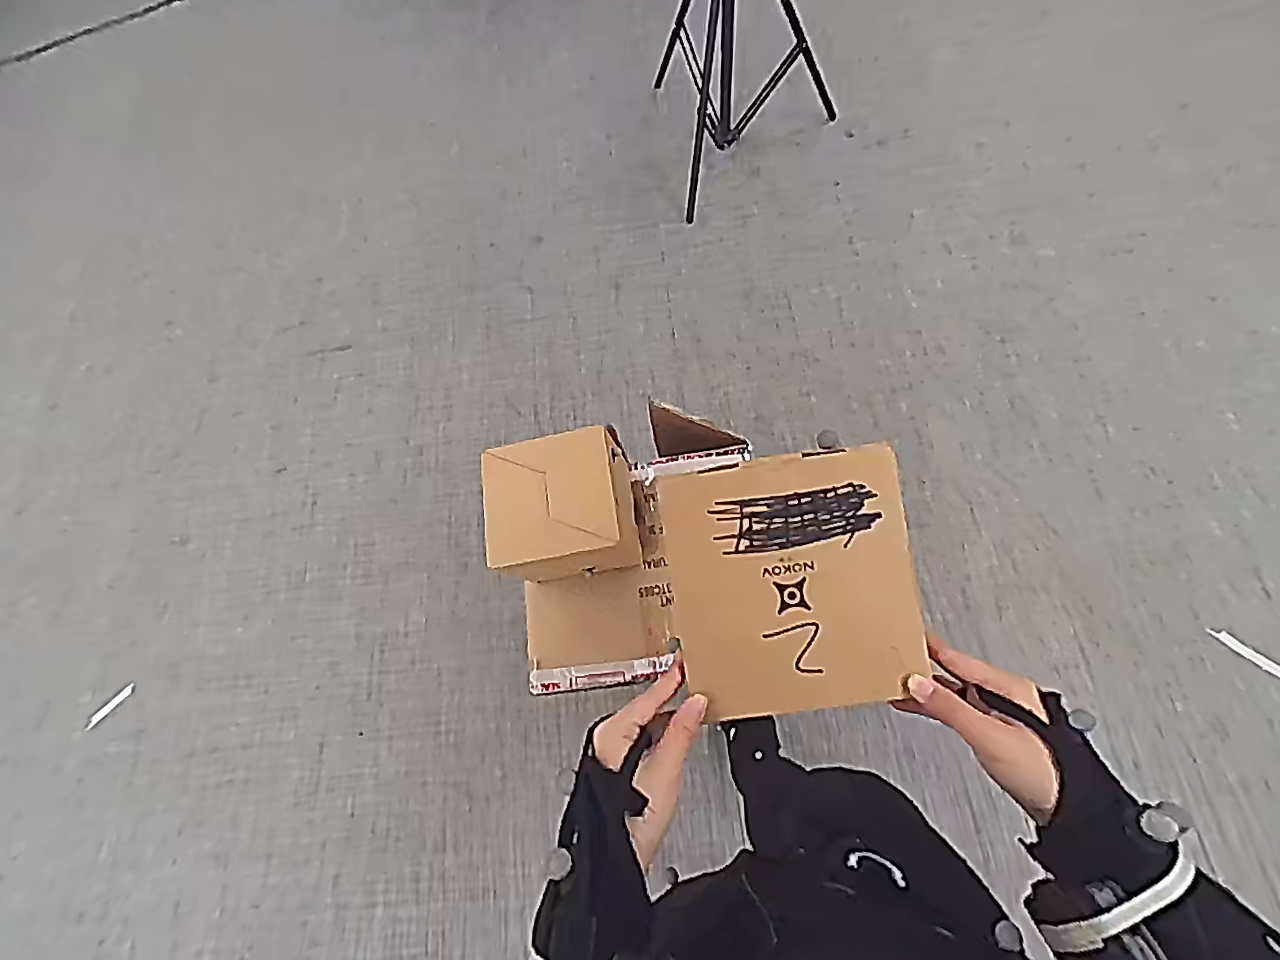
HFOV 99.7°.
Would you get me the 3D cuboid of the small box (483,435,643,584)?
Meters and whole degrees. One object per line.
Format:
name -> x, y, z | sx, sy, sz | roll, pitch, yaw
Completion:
small box -> -0.105, 0.047, 0.781 | 0.179, 0.176, 0.168 | -11, 71, 7
